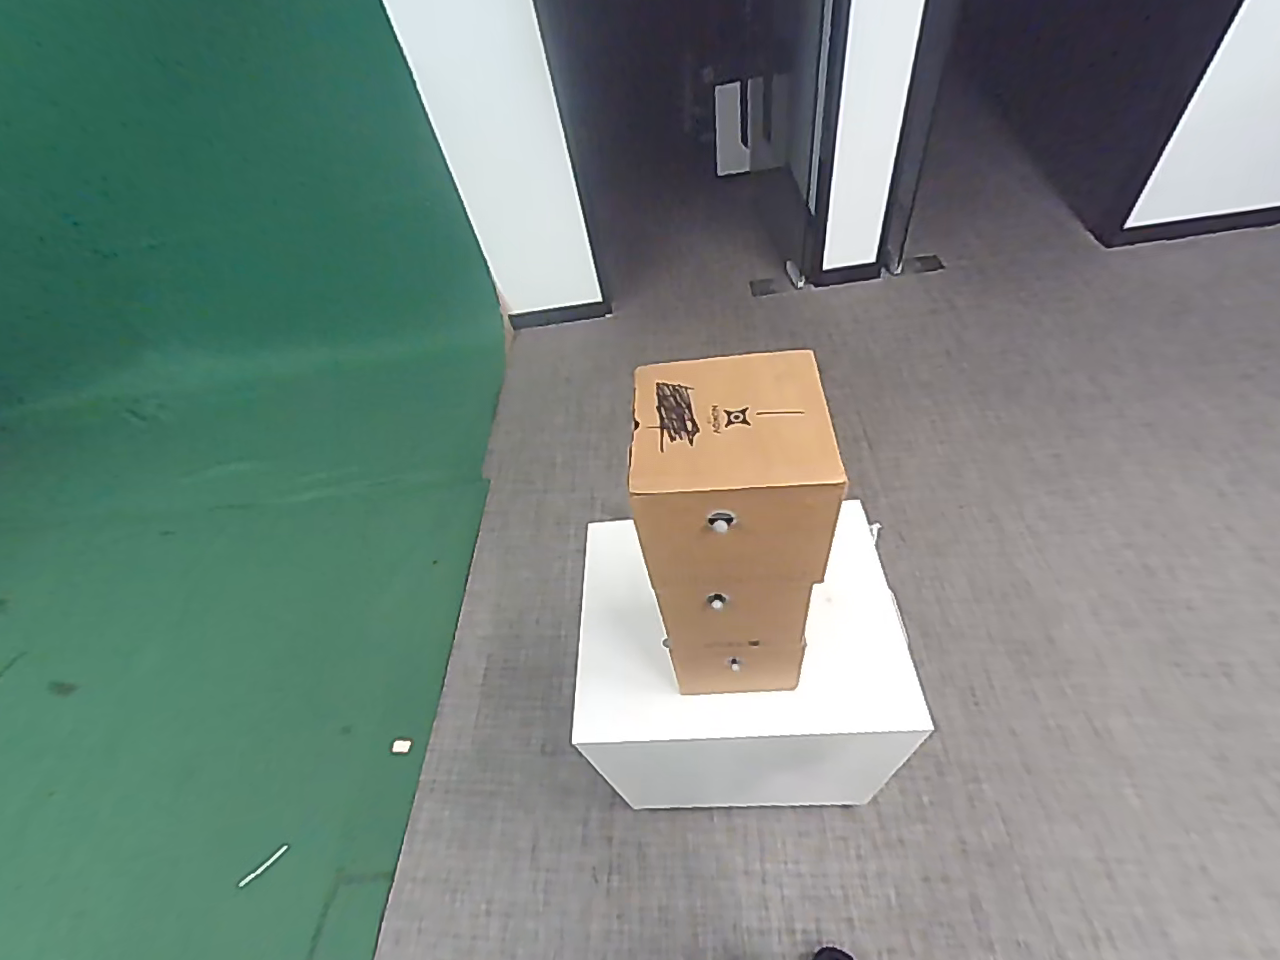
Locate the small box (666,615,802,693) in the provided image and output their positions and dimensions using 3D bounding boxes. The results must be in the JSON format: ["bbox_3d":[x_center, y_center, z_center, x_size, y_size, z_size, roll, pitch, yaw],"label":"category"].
[{"bbox_3d":[0.134,0.207,0.802,0.179,0.176,0.168,-5,50,6],"label":"small box"}]

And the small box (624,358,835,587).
[{"bbox_3d":[0.088,-0.001,0.552,0.179,0.176,0.168,-4,50,8],"label":"small box"}]

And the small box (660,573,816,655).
[{"bbox_3d":[0.112,0.102,0.682,0.168,0.176,0.179,-6,50,5],"label":"small box"}]
